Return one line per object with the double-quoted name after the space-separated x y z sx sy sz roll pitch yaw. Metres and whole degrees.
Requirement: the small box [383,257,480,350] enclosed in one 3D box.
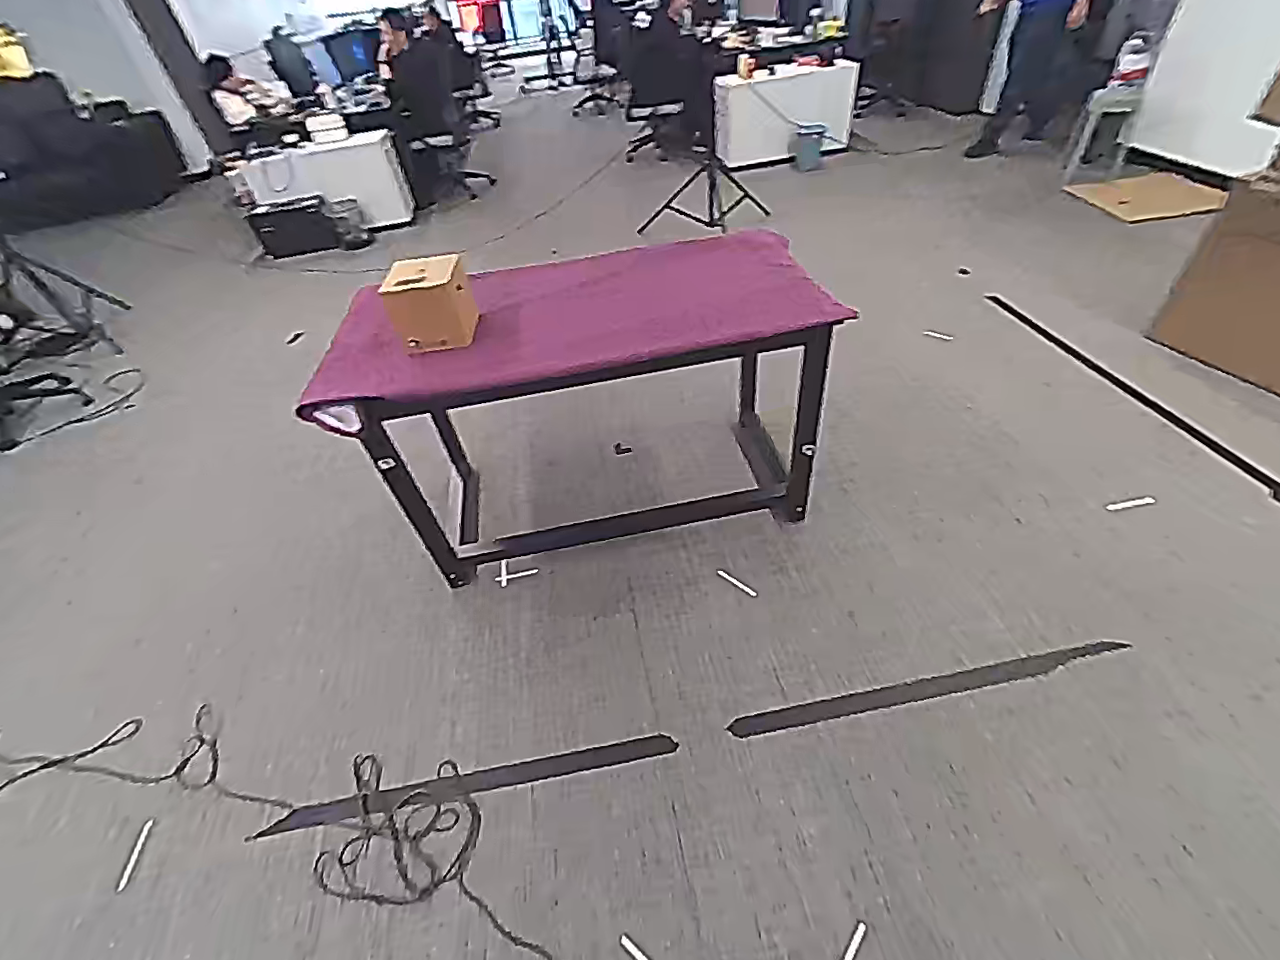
-0.518 -0.442 1.372 0.168 0.176 0.179 -6 44 1 "small box"
